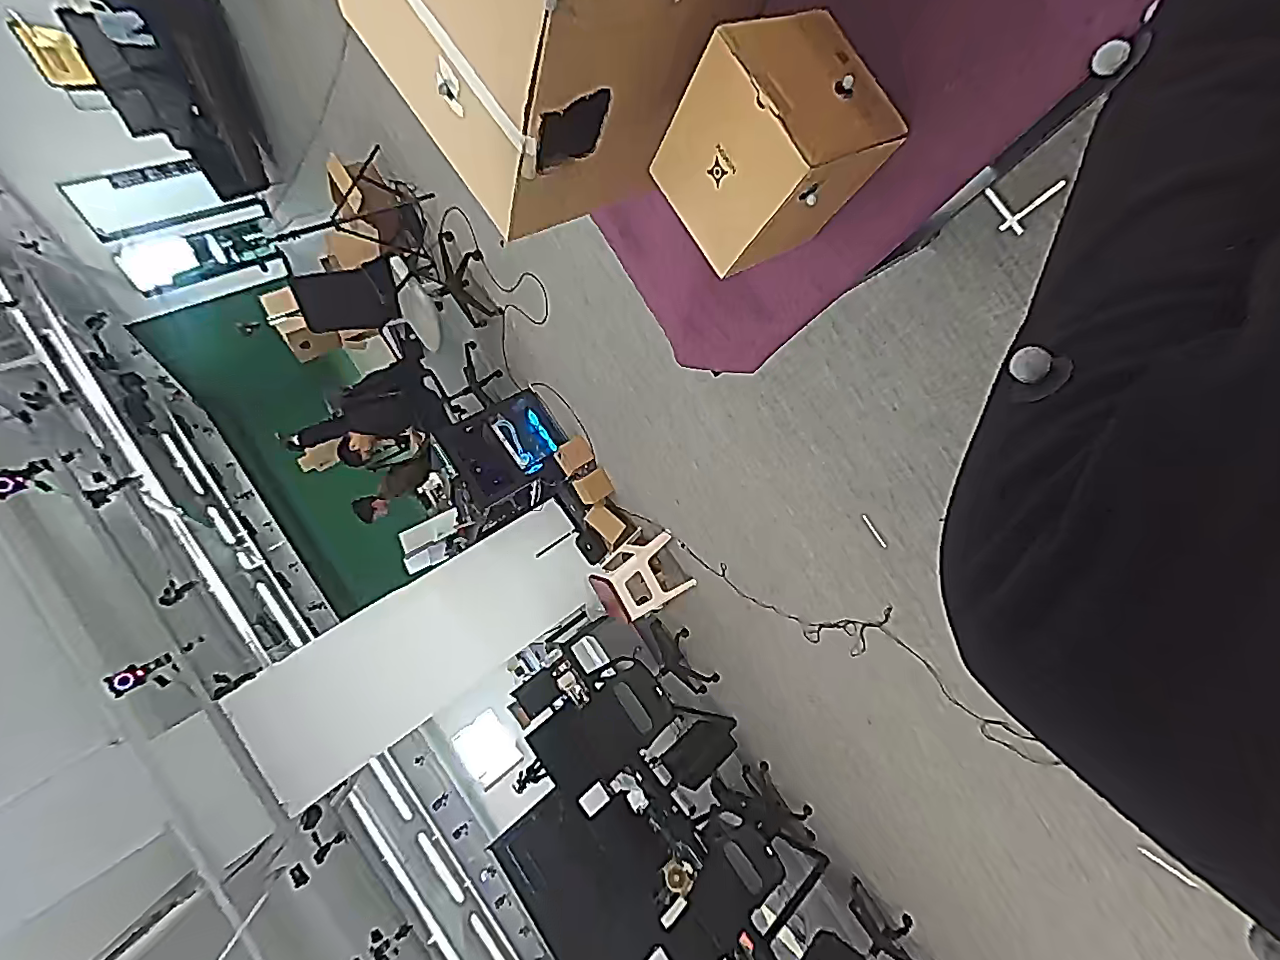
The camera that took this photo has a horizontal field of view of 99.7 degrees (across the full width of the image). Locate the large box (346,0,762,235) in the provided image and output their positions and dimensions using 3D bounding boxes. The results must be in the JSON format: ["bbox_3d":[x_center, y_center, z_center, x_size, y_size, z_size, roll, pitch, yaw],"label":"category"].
[{"bbox_3d":[-0.119,-0.602,0.659,0.408,0.320,0.320,53,154,3],"label":"large box"}]
